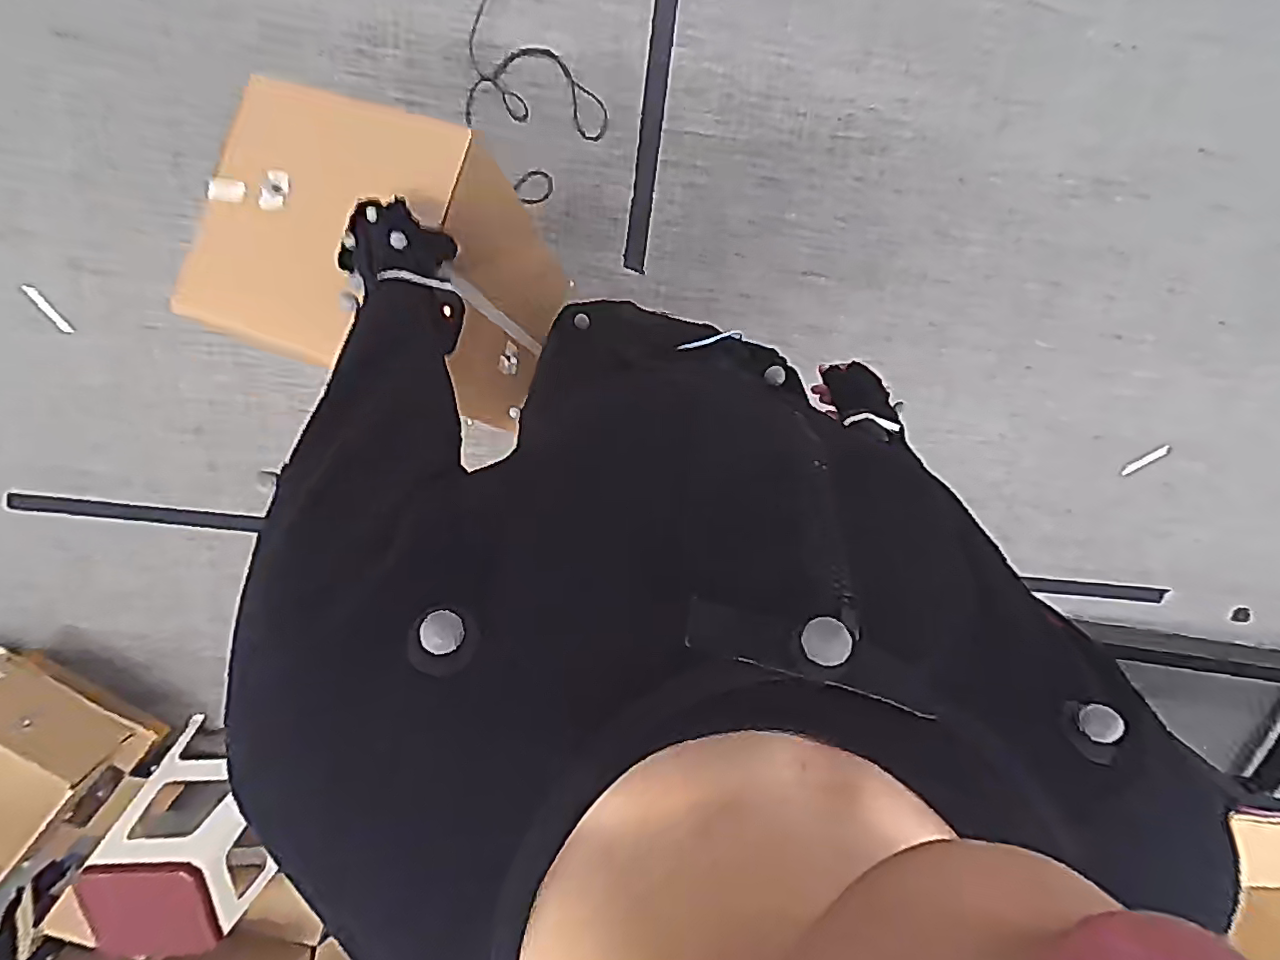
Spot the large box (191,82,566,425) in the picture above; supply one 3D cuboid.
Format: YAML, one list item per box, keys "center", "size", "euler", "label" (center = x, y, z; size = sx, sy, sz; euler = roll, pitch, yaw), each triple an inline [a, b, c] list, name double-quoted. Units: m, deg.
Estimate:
- center: [-0.352, -0.300, 0.842]
  size: [0.320, 0.408, 0.320]
  euler: [21, 90, 7]
  label: "large box"
